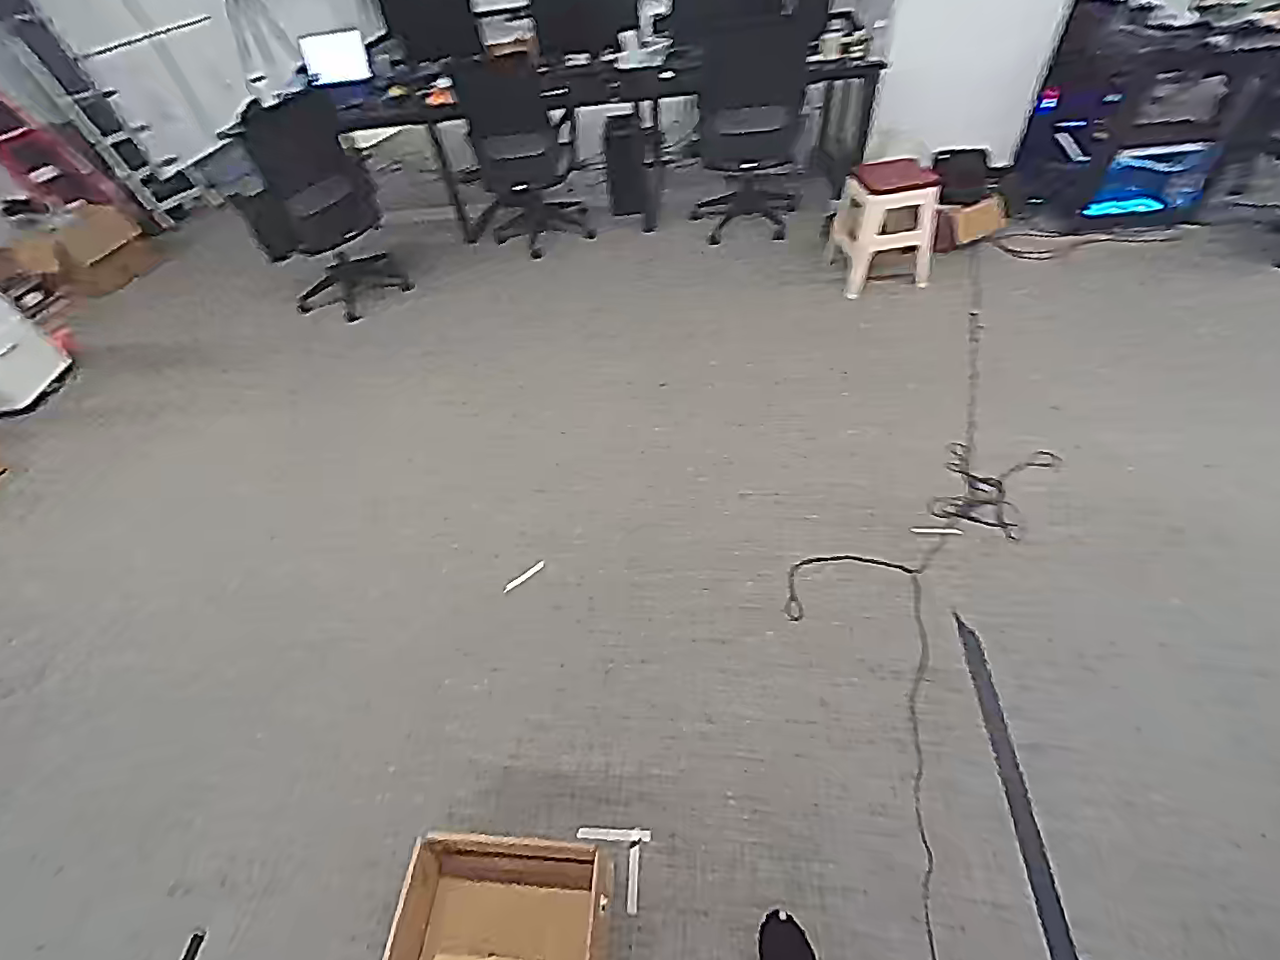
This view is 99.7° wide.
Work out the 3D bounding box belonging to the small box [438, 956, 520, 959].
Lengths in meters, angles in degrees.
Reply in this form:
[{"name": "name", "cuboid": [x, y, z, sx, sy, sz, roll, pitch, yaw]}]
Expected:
[{"name": "small box", "cuboid": [-0.287, 0.993, 0.996, 0.179, 0.176, 0.168, -2, 48, 7]}]
